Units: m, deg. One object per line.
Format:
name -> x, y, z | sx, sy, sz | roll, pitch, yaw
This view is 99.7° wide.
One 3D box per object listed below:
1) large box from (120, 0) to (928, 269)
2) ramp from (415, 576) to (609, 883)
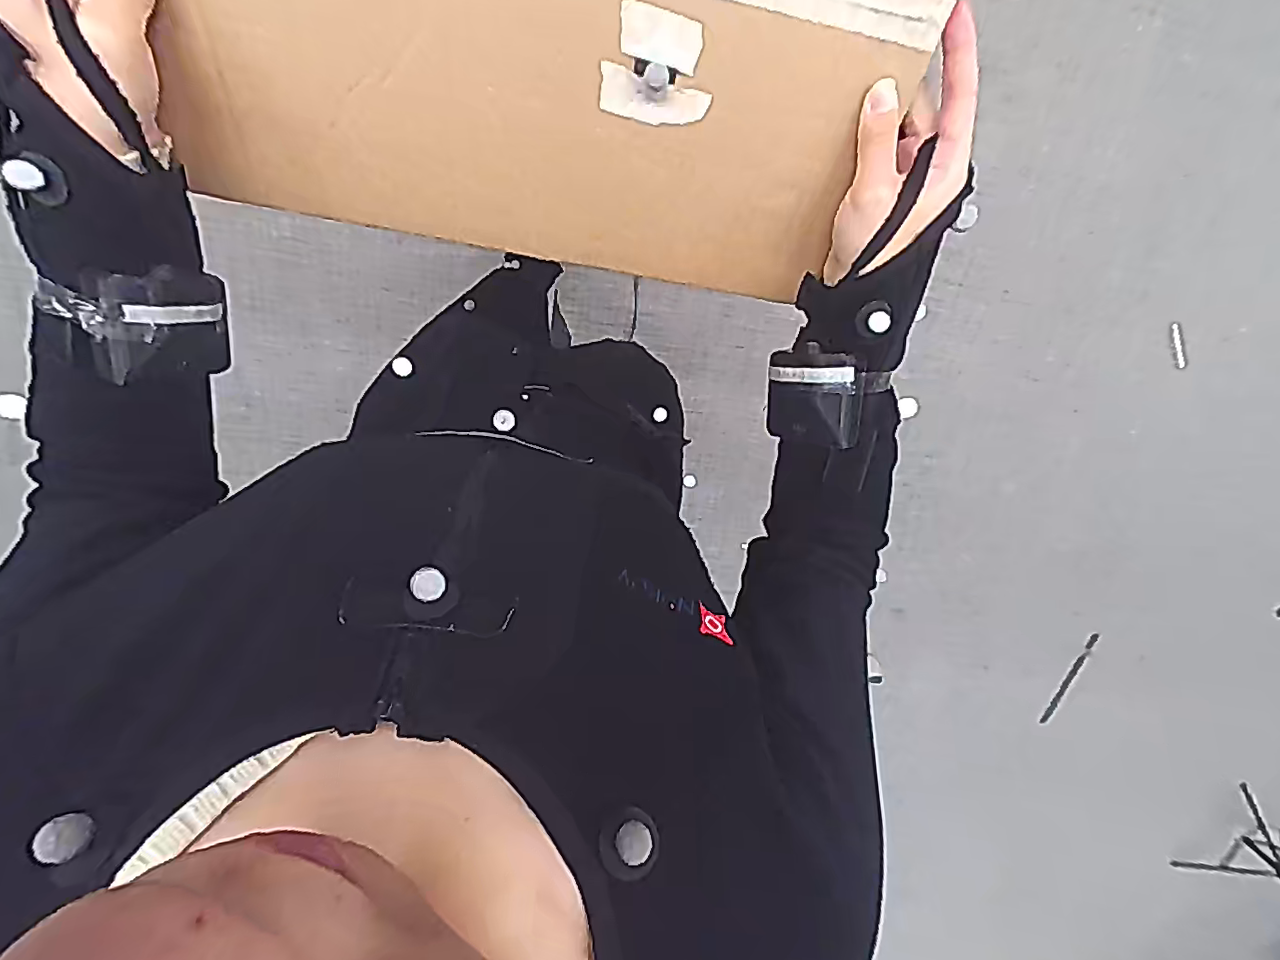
large box -> -0.052, -0.378, 0.342 | 0.408, 0.320, 0.320 | 6, 138, -10
ramp -> -0.392, 0.771, 1.608 | 0.509, 0.206, 0.991 | 5, 111, -7
